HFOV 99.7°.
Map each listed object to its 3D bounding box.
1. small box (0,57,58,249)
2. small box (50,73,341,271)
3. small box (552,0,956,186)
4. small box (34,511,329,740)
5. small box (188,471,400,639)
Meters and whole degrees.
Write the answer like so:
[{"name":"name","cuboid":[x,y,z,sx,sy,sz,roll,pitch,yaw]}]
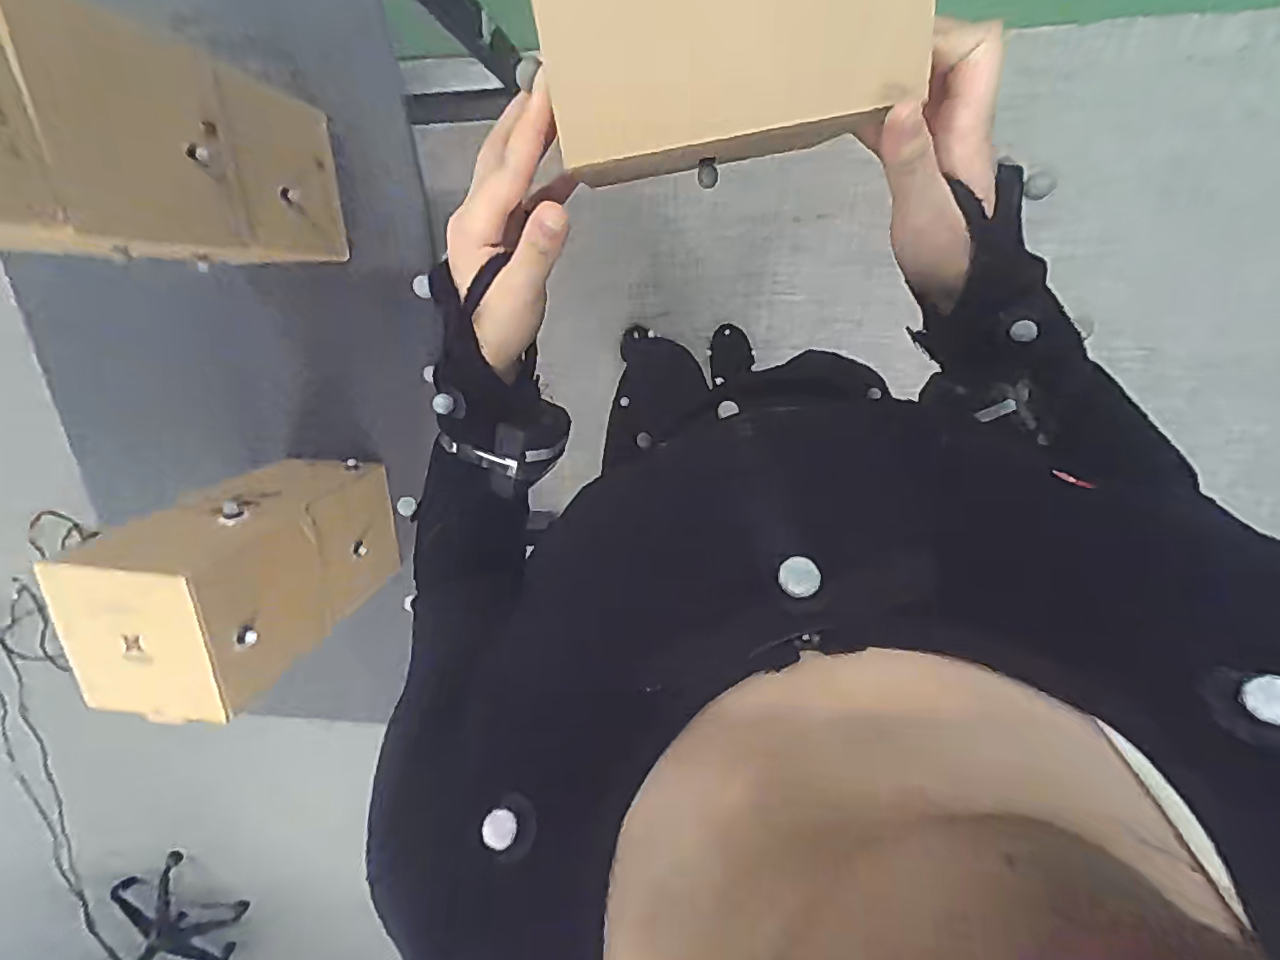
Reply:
[{"name":"small box","cuboid":[-0.509,-0.217,0.299,0.179,0.176,0.168,-1,110,9]},{"name":"small box","cuboid":[-0.466,-0.327,0.606,0.179,0.176,0.168,2,109,8]},{"name":"small box","cuboid":[0.041,-0.259,0.278,0.168,0.176,0.179,-8,115,2]},{"name":"small box","cuboid":[-0.479,0.150,0.600,0.168,0.176,0.179,3,109,6]},{"name":"small box","cuboid":[-0.461,0.094,0.751,0.168,0.176,0.179,3,110,7]}]
